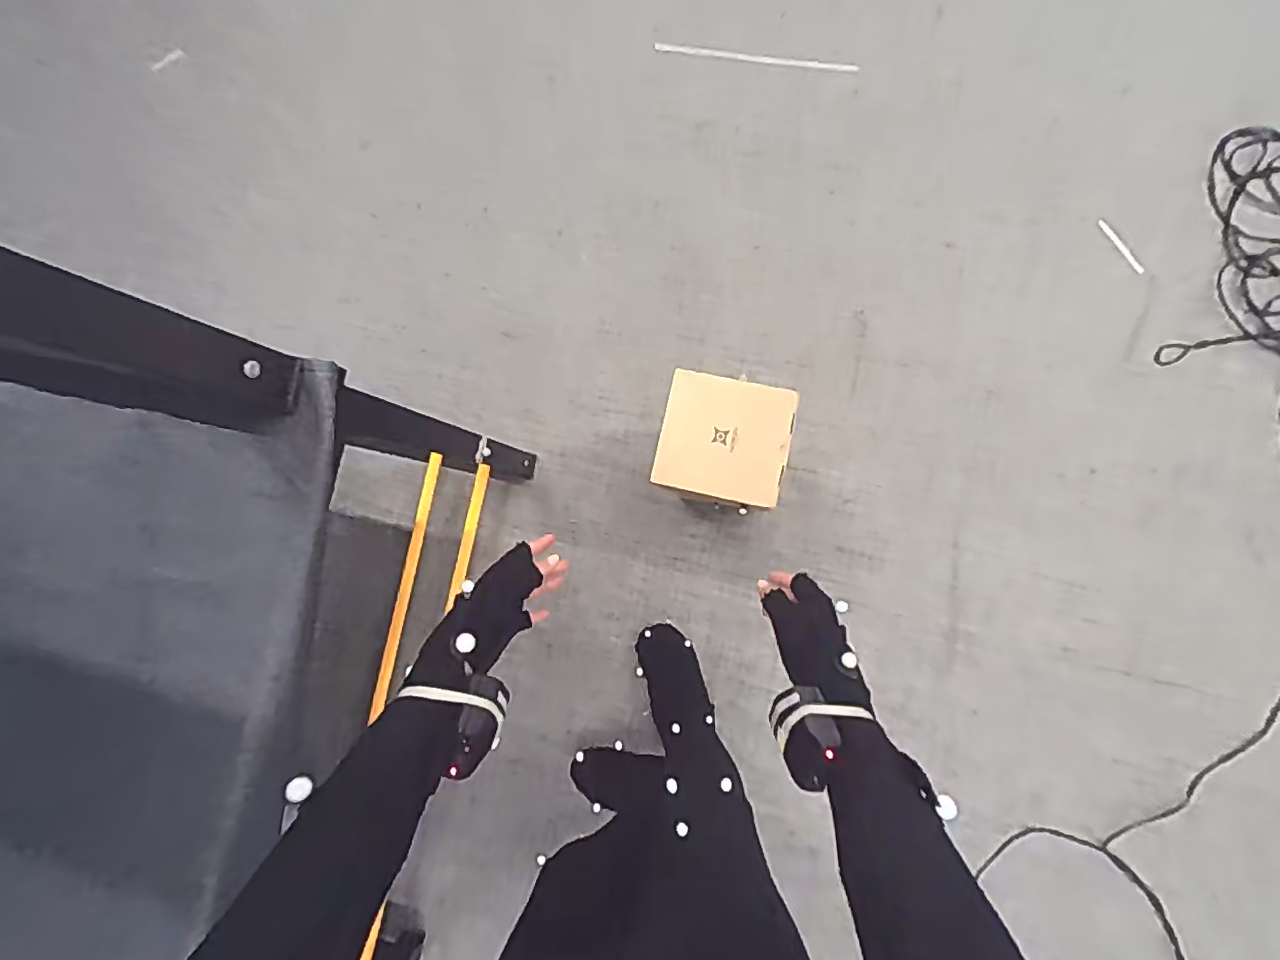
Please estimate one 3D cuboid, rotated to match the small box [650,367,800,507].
[{"bbox_3d":[0.124,-0.055,0.811,0.179,0.176,0.168,12,89,8],"label":"small box"}]
